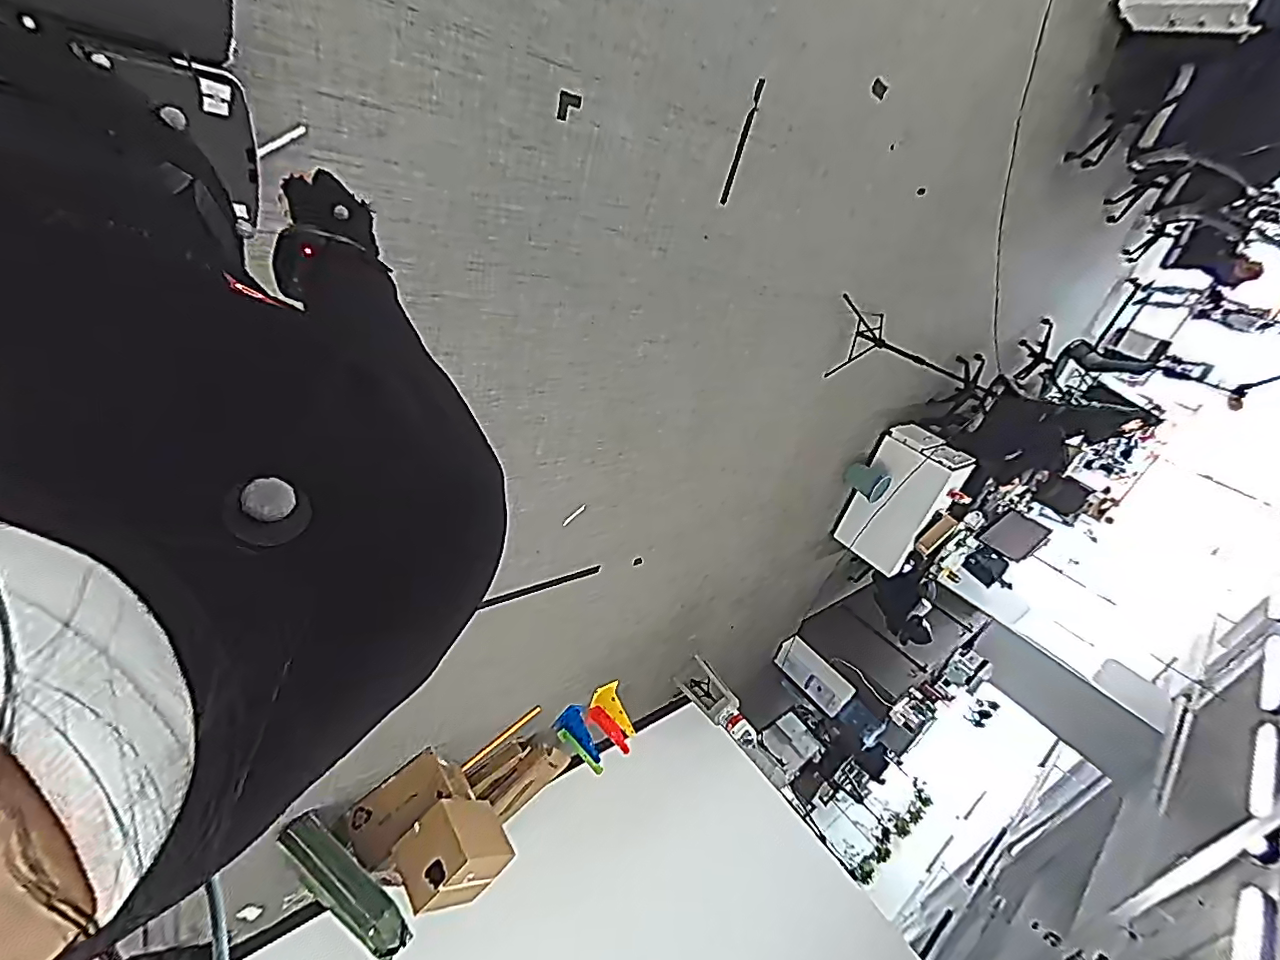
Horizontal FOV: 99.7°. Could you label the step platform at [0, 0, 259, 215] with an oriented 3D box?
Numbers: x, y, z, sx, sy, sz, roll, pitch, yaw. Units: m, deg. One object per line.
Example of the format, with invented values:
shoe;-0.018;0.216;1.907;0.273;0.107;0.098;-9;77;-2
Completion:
step platform;-1.053;-0.647;0.901;0.684;0.204;0.286;-11;129;-38
